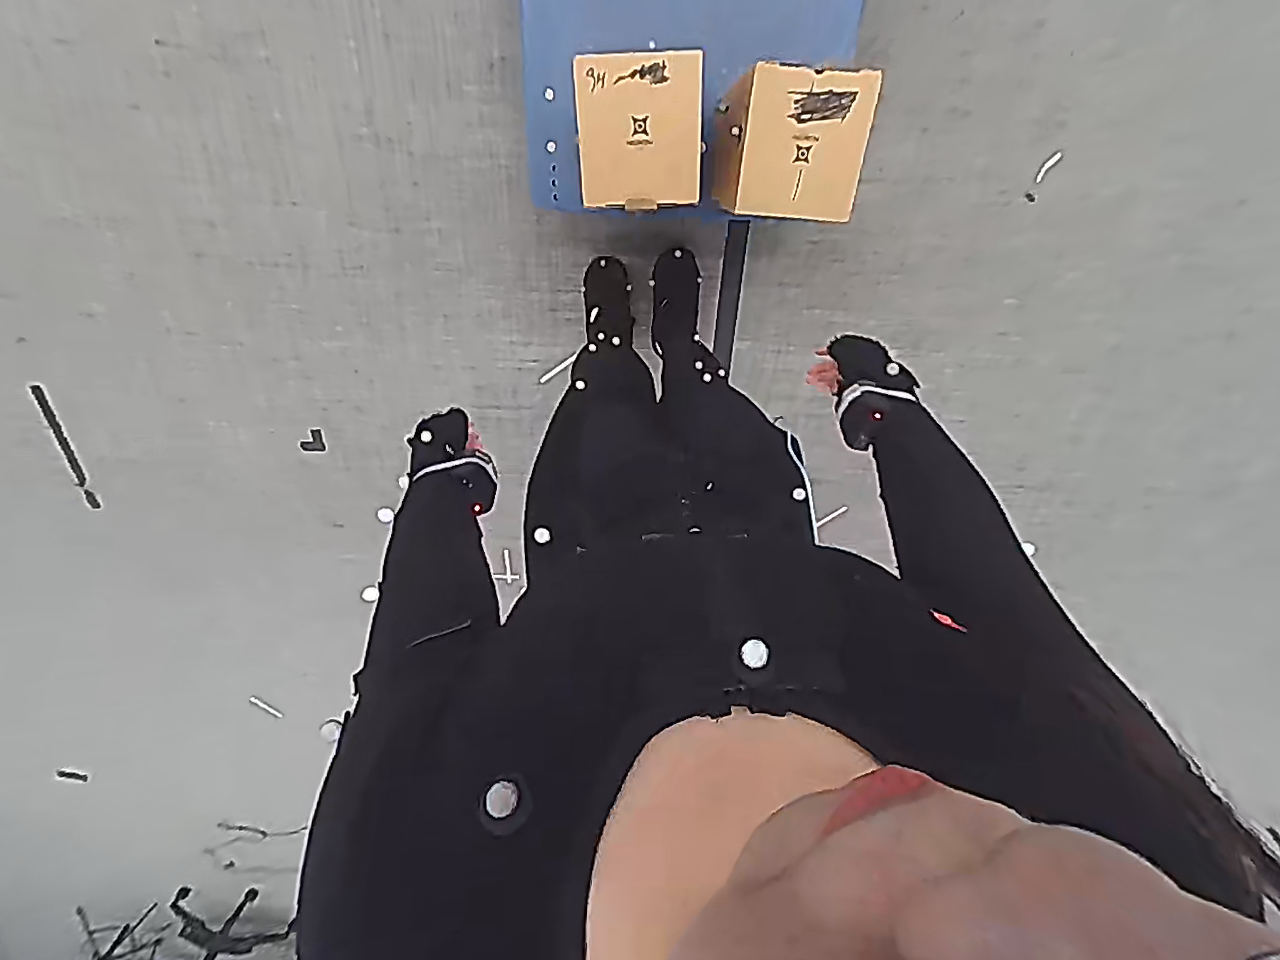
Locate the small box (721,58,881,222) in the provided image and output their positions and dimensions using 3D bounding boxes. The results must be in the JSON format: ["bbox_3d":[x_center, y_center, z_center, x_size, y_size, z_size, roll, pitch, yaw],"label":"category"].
[{"bbox_3d":[0.219,-0.488,0.794,0.168,0.176,0.179,4,120,-2],"label":"small box"}]

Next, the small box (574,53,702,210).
[{"bbox_3d":[-0.001,-0.501,0.790,0.168,0.176,0.179,-1,120,1],"label":"small box"}]
